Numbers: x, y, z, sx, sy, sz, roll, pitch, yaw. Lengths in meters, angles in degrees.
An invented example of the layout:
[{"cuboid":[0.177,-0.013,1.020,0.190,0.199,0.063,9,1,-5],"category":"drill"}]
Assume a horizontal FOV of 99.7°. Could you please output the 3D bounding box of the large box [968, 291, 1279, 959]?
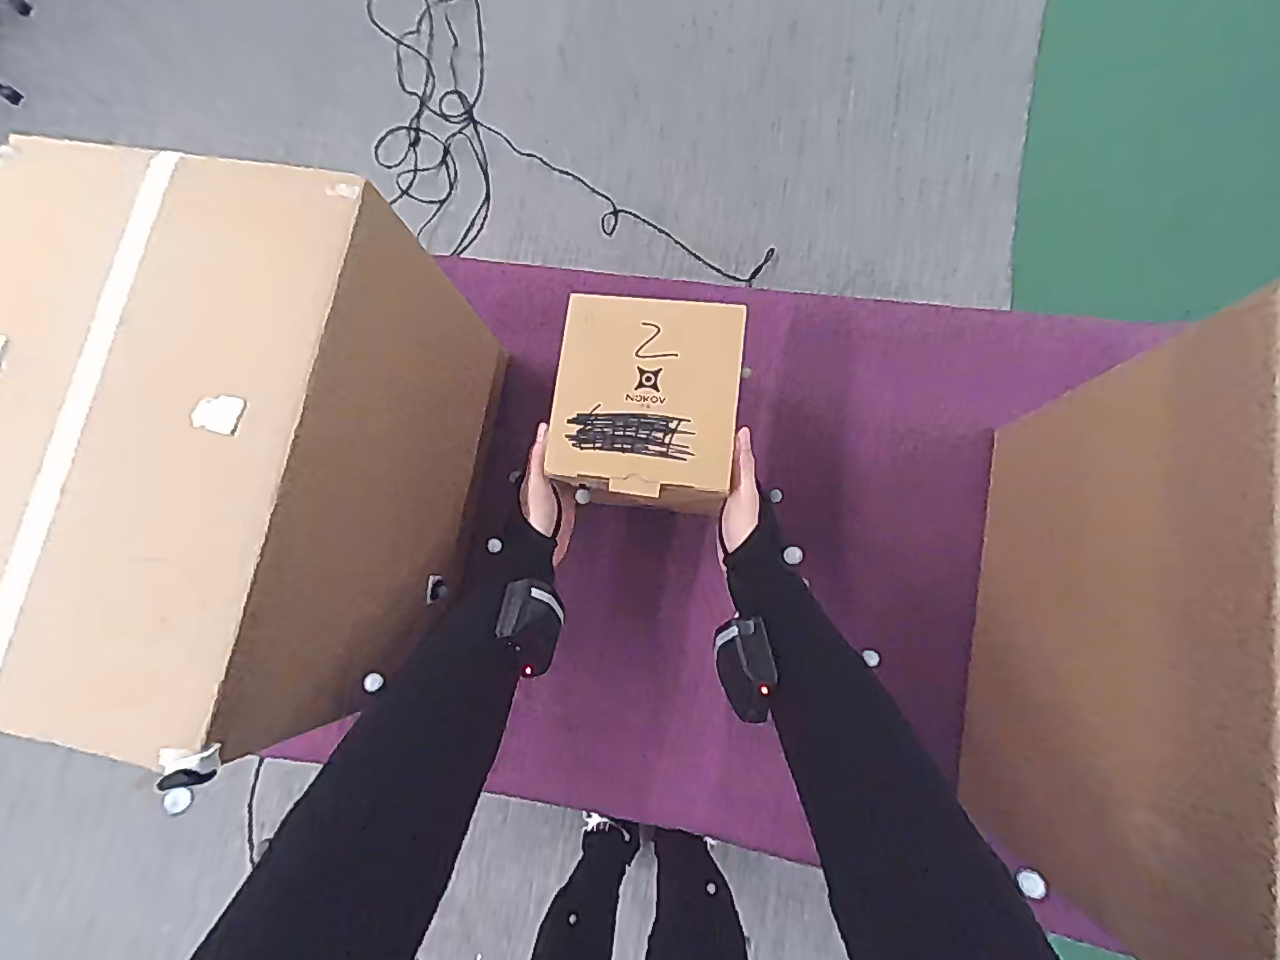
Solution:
[{"cuboid":[0.492,0.128,0.407,0.320,0.320,0.408,10,81,8],"category":"large box"}]
